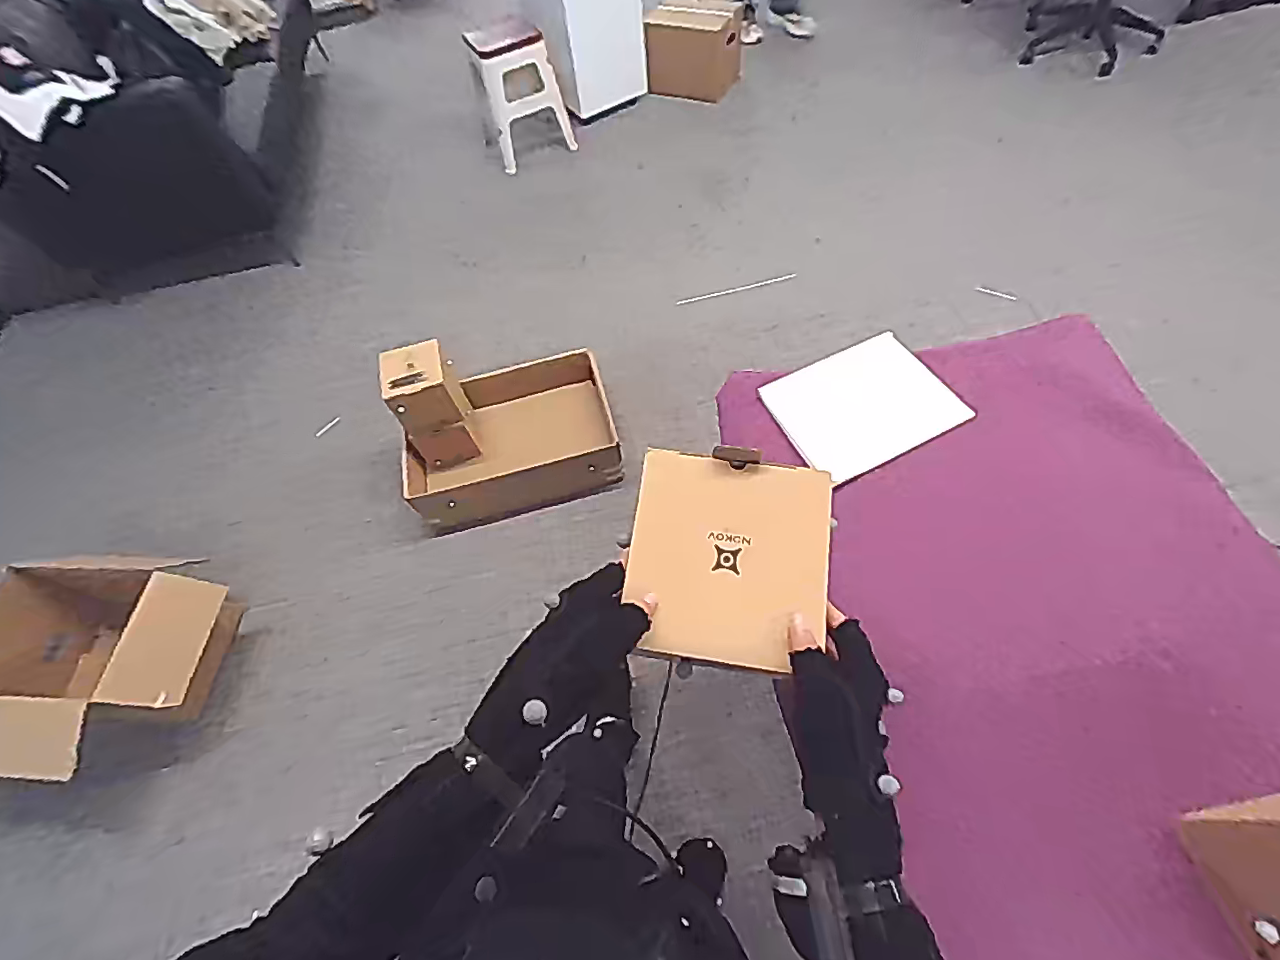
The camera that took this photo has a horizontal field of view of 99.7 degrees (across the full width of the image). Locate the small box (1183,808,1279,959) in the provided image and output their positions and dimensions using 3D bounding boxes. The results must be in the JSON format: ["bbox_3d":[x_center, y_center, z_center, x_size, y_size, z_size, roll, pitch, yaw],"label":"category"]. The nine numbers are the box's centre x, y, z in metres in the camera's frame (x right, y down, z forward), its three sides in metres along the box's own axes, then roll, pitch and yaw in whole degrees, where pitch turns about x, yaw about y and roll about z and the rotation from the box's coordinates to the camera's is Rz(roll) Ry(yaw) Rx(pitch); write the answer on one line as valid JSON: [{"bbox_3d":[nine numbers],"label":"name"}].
[{"bbox_3d":[0.629,0.364,0.438,0.179,0.176,0.168,-11,58,-1],"label":"small box"}]
